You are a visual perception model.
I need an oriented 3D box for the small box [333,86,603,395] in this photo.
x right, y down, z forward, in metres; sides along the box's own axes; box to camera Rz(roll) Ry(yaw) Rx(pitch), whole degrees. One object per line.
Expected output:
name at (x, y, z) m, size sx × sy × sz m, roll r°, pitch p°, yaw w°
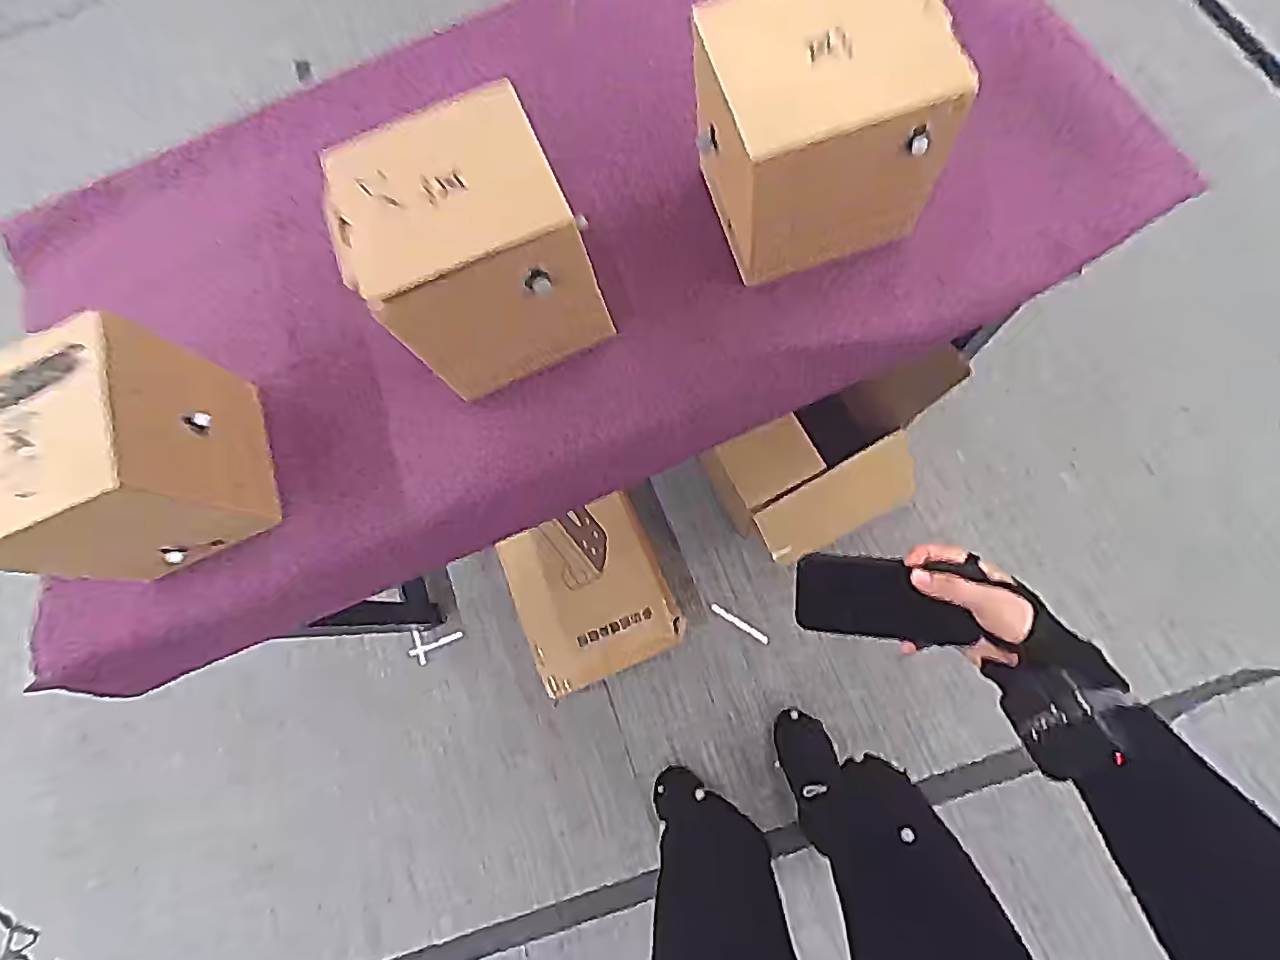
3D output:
small box at (-0.145, -0.211, 0.515) m, size 0.179 × 0.176 × 0.168 m, roll -24°, pitch 71°, yaw 2°

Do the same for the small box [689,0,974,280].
small box at (0.155, -0.317, 0.499) m, size 0.179 × 0.176 × 0.168 m, roll -17°, pitch 74°, yaw 4°
